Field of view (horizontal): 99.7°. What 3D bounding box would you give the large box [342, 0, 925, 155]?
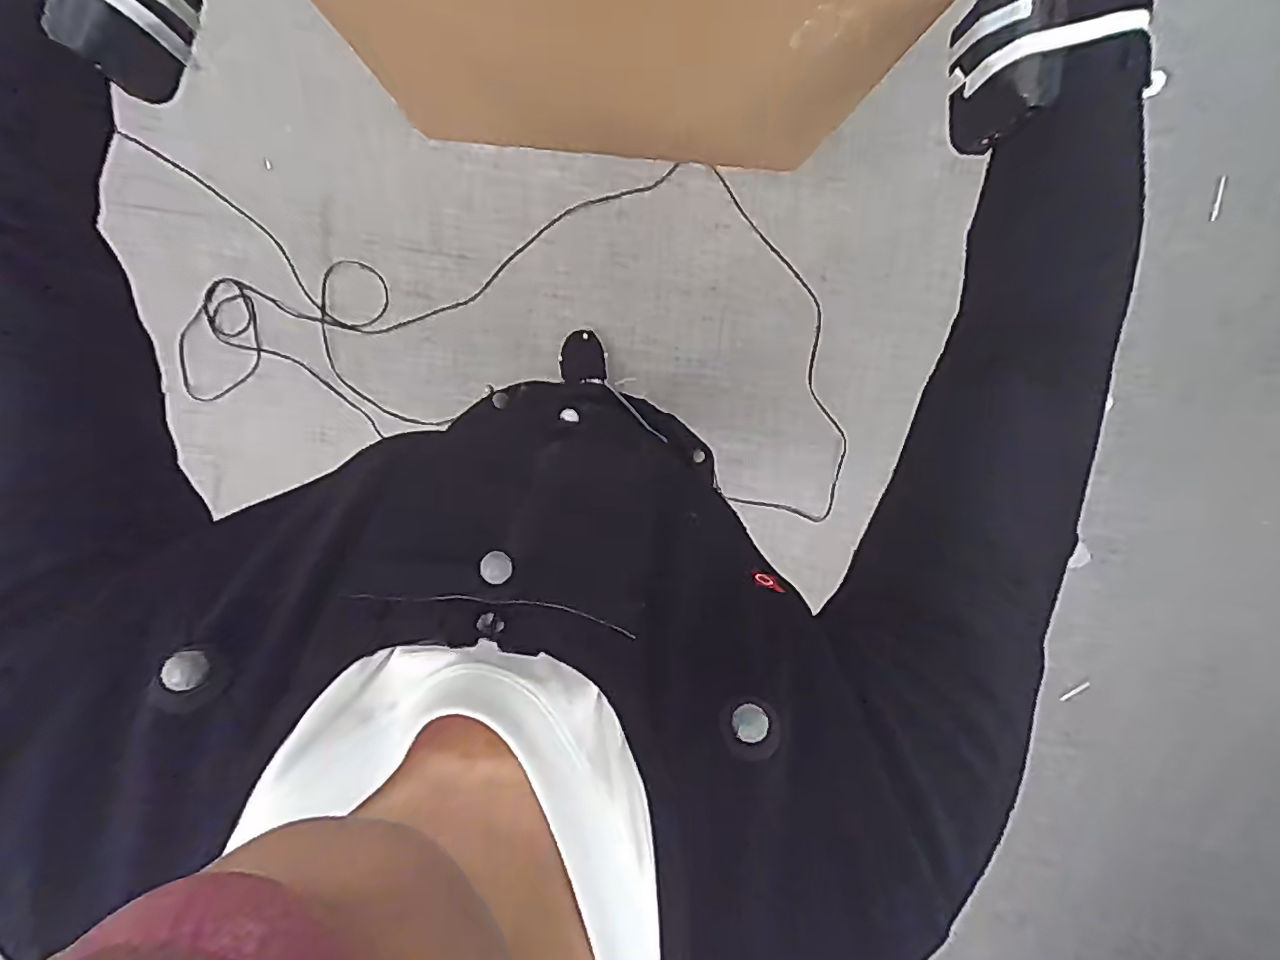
[{"bbox_3d":[-0.011,-0.482,0.409,0.408,0.320,0.320,3,102,-5],"label":"large box"}]
